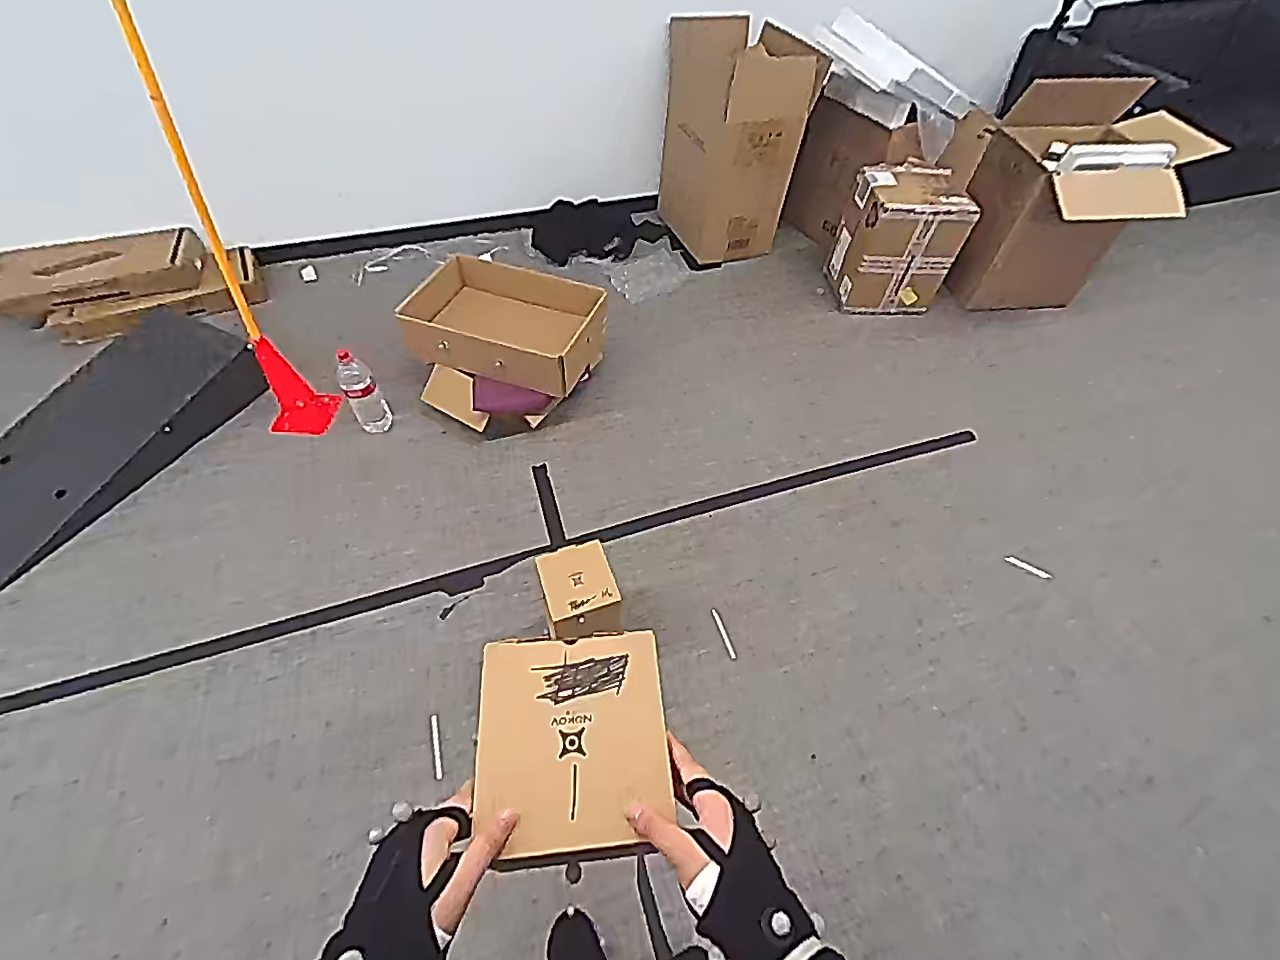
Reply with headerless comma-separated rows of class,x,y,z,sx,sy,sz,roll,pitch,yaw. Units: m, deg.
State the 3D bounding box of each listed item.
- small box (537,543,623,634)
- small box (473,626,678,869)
small box,-0.149,0.289,1.336,0.168,0.176,0.179,-15,53,-14
small box,-0.063,0.267,0.540,0.168,0.176,0.179,-4,52,-6
